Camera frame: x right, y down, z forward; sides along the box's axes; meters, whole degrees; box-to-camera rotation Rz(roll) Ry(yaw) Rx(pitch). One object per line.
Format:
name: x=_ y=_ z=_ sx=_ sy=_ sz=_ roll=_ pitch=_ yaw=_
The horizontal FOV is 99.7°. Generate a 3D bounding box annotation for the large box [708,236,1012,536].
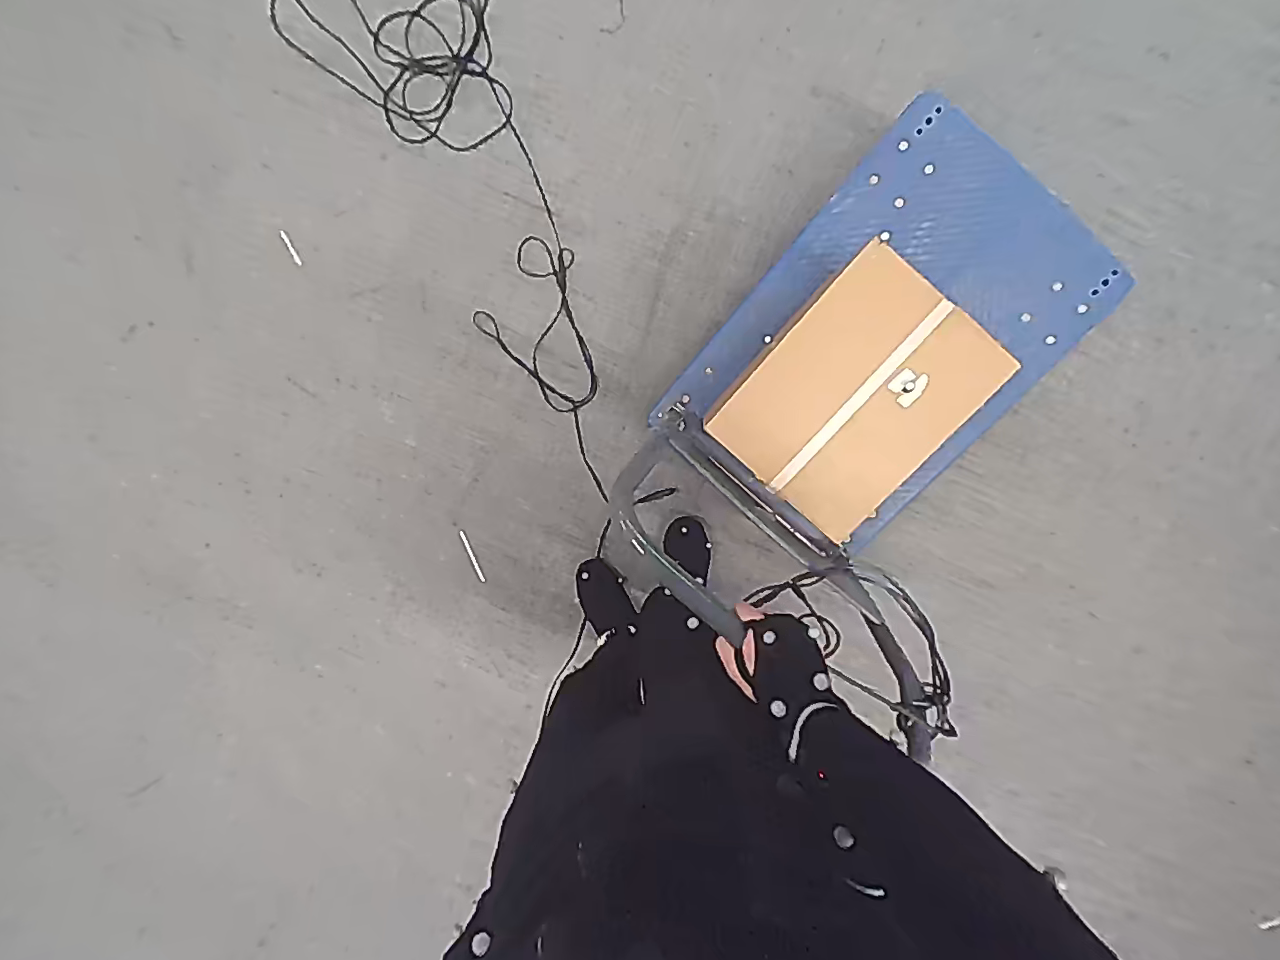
large box: x=0.373 y=-0.167 z=1.042 sx=0.320 sy=0.320 sz=0.408 roll=41 pitch=102 yaw=-2
